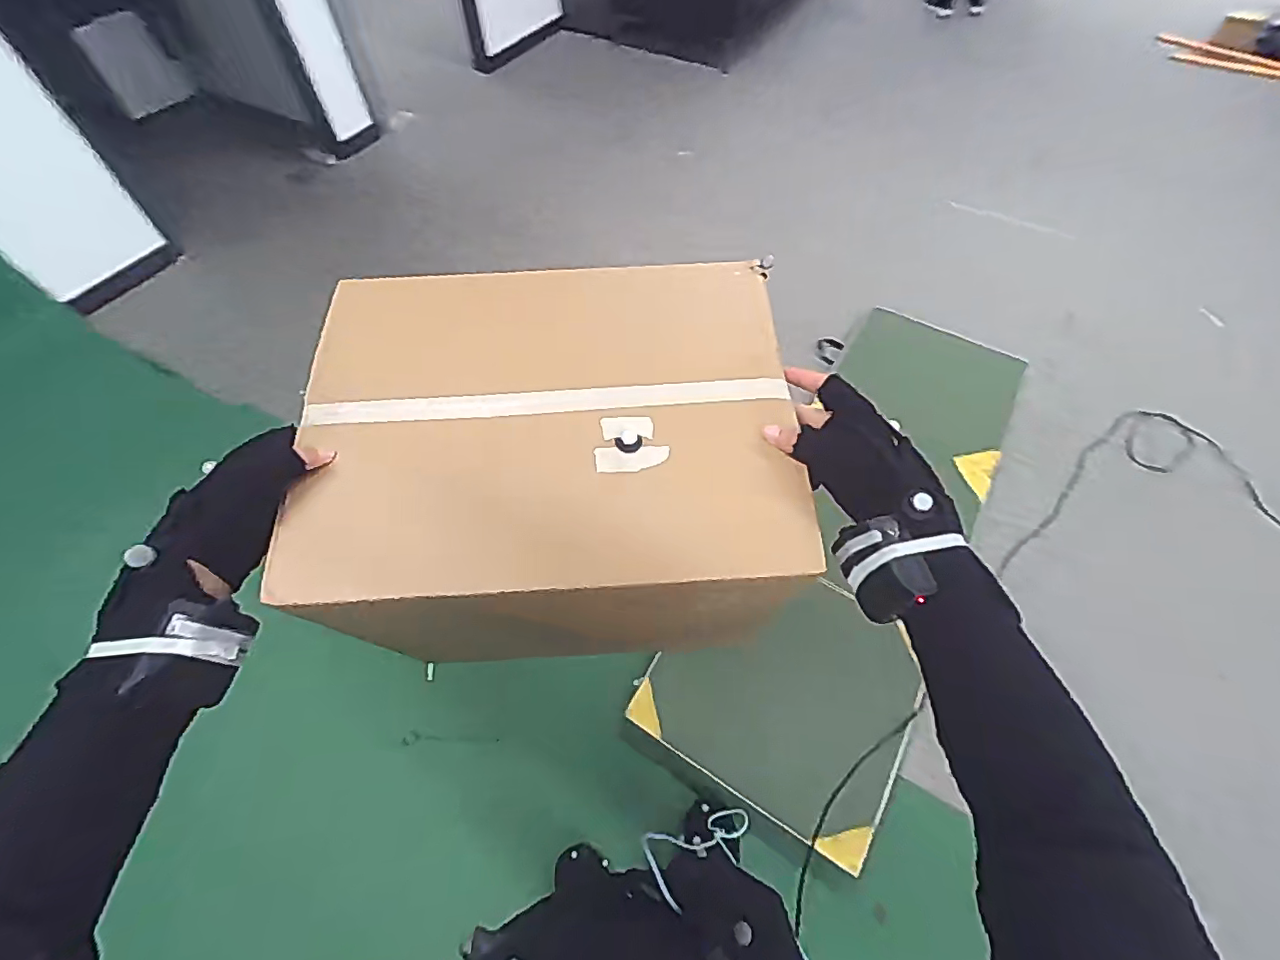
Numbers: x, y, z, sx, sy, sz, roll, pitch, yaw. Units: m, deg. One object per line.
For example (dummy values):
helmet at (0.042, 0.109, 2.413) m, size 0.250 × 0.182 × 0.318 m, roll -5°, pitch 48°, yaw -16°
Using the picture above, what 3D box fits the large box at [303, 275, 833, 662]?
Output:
large box at (-0.061, 0.008, 0.599) m, size 0.408 × 0.320 × 0.320 m, roll -2°, pitch 64°, yaw -2°
